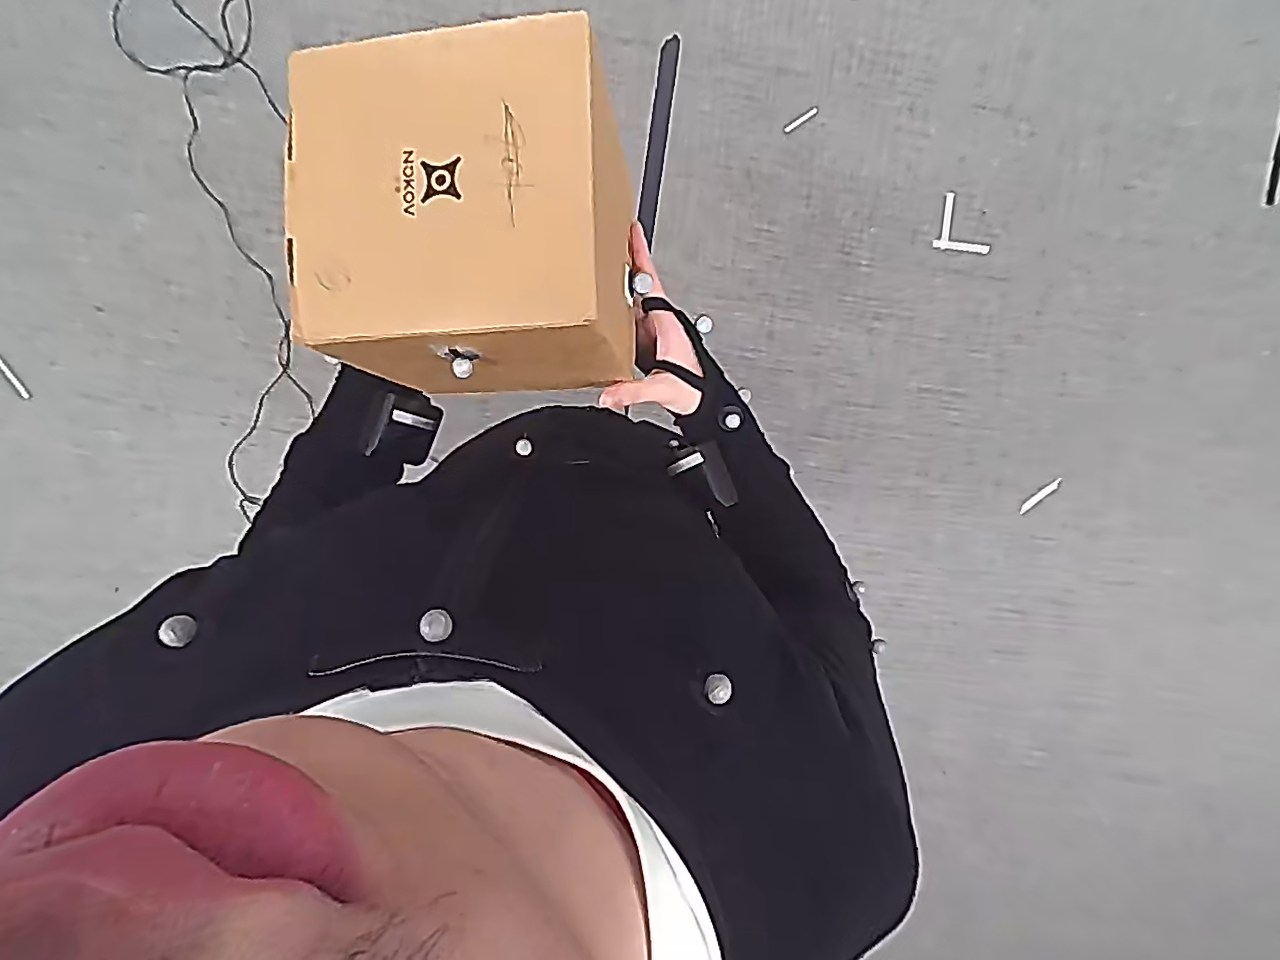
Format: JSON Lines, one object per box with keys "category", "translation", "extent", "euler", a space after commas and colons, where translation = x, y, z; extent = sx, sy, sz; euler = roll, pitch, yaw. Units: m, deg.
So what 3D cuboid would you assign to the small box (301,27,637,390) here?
{"category": "small box", "translation": [-0.100, -0.161, 0.382], "extent": [0.179, 0.176, 0.168], "euler": [-2, 89, 6]}
